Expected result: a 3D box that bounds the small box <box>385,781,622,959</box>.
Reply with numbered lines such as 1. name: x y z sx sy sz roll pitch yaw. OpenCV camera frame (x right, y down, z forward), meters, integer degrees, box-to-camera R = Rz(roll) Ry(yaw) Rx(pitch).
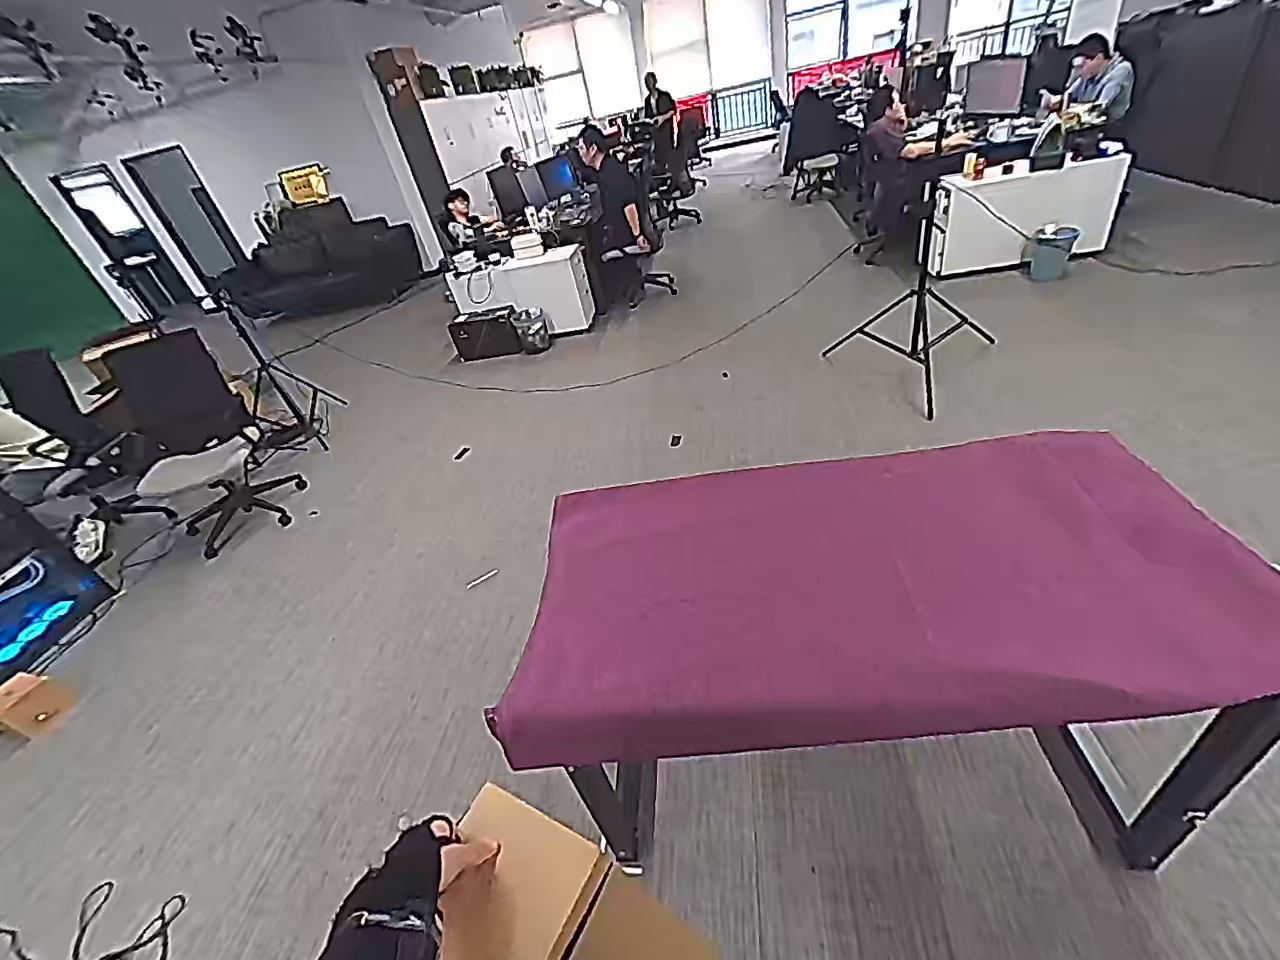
1. small box: -0.134 0.483 0.604 0.179 0.176 0.168 18 47 24
